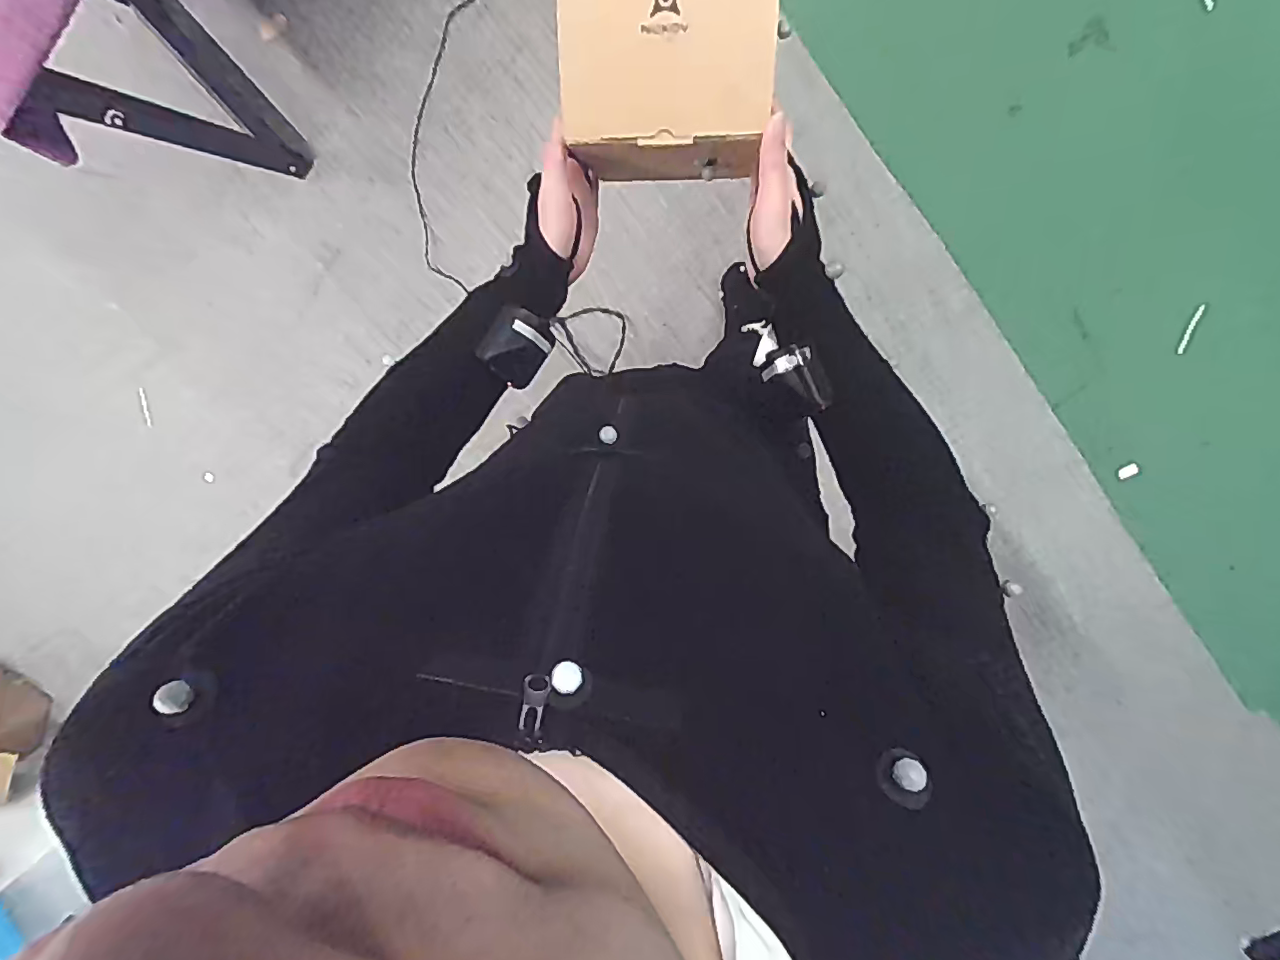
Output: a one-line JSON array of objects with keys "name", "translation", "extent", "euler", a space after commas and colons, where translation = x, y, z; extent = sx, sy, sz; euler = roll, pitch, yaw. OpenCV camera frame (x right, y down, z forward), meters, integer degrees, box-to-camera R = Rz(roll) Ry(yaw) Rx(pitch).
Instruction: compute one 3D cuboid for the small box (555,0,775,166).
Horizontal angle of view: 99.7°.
[{"name": "small box", "translation": [0.026, -0.383, 0.467], "extent": [0.168, 0.176, 0.179], "euler": [2, 110, 5]}]
